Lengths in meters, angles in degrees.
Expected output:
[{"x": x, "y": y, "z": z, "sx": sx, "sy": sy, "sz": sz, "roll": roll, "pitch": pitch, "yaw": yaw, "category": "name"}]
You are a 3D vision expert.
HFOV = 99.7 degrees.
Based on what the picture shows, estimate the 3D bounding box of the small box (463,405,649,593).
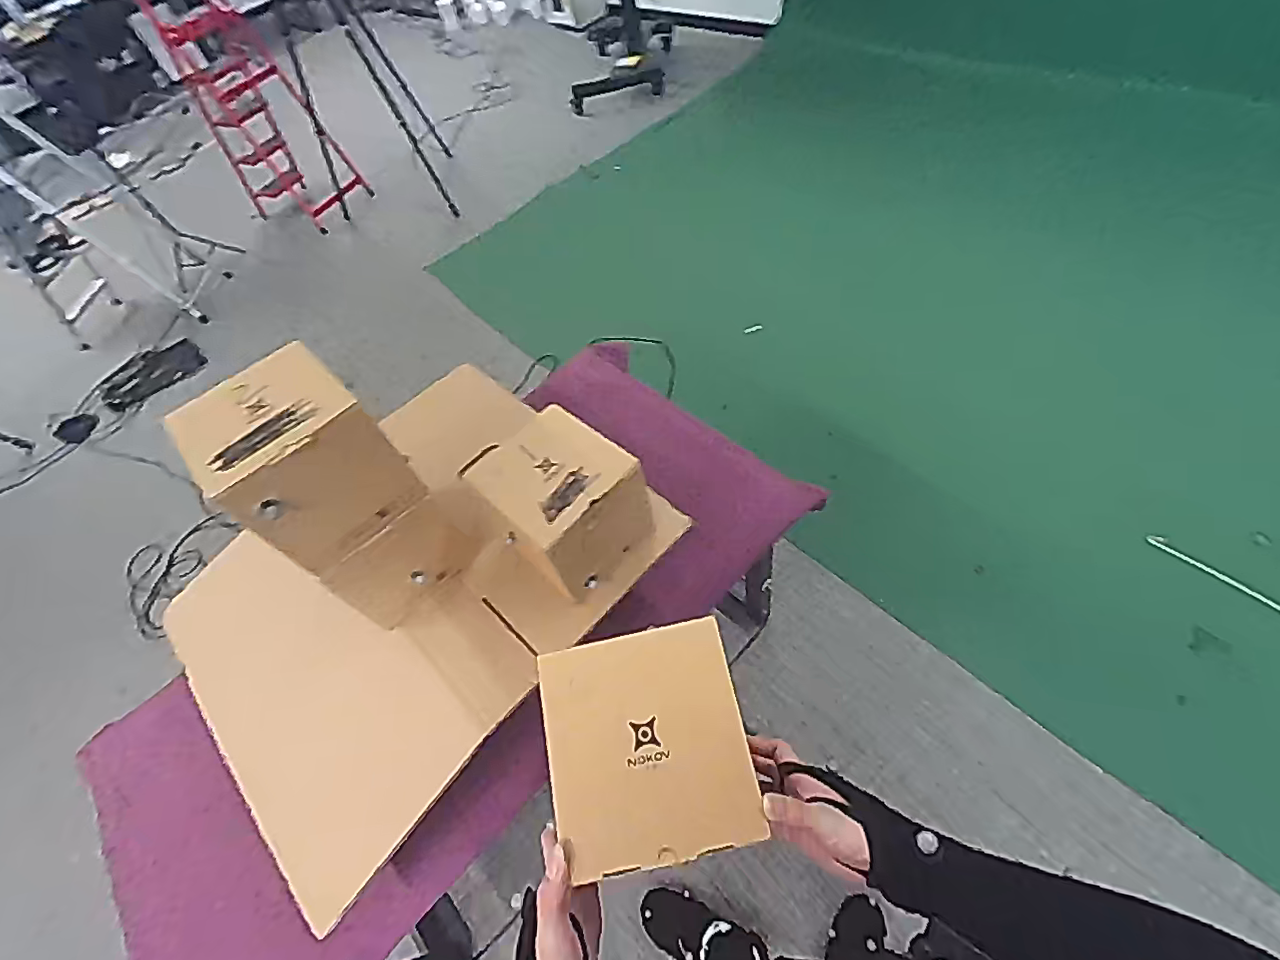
[{"x": -0.105, "y": 0.035, "z": 0.756, "sx": 0.179, "sy": 0.176, "sz": 0.168, "roll": 35, "pitch": 67, "yaw": 29, "category": "small box"}]

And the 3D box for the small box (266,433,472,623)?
[{"x": -0.375, "y": 0.072, "z": 0.773, "sx": 0.179, "sy": 0.176, "sz": 0.168, "roll": 37, "pitch": 67, "yaw": 29, "category": "small box"}]
